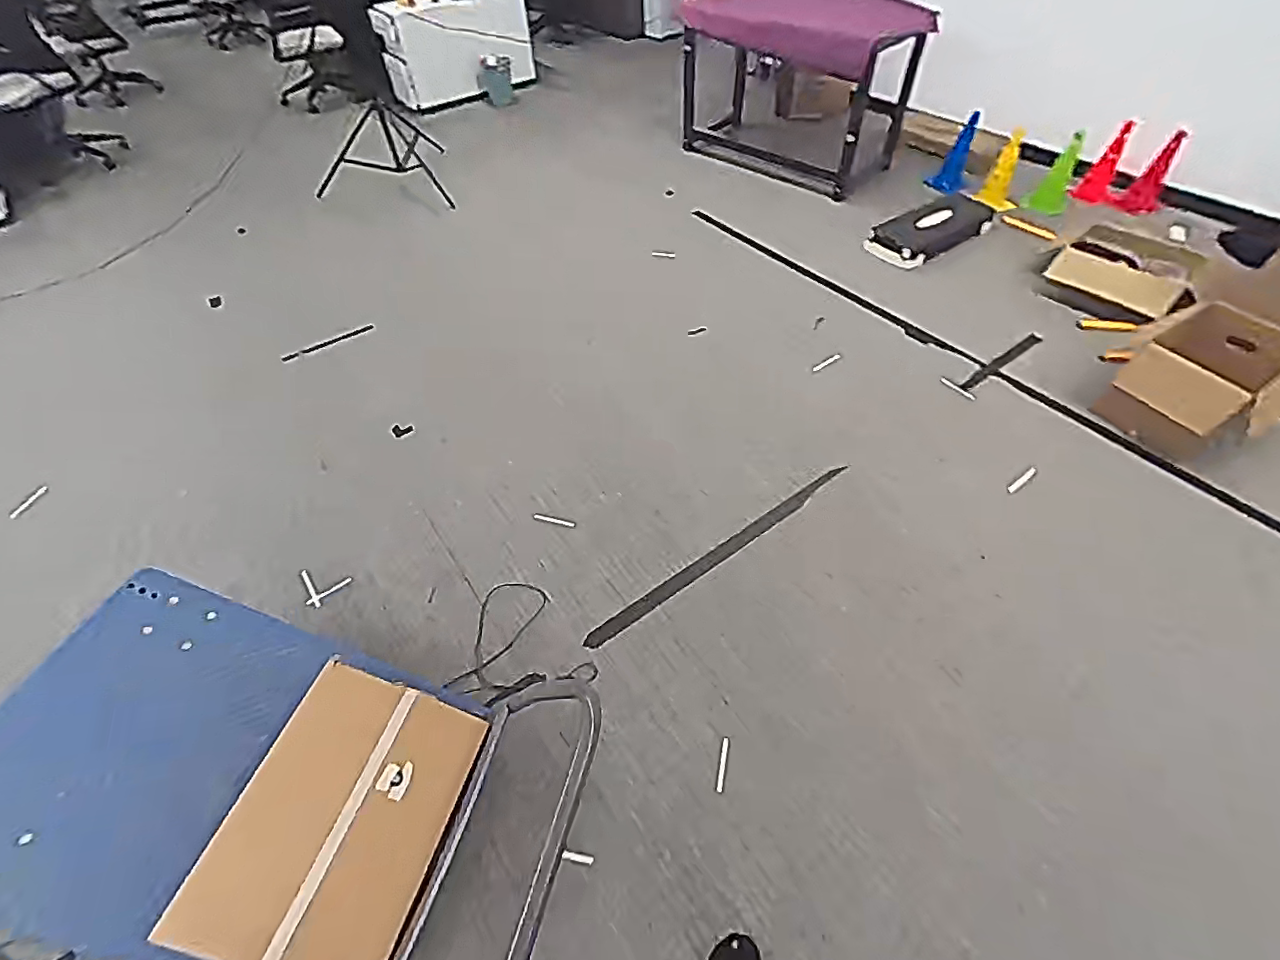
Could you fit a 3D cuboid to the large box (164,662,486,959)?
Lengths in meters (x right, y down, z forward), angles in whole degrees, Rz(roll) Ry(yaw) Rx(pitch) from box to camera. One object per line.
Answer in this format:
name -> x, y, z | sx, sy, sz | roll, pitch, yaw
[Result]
large box -> -0.531, 0.617, 0.996 | 0.320, 0.320, 0.408 | 27, 51, -10
